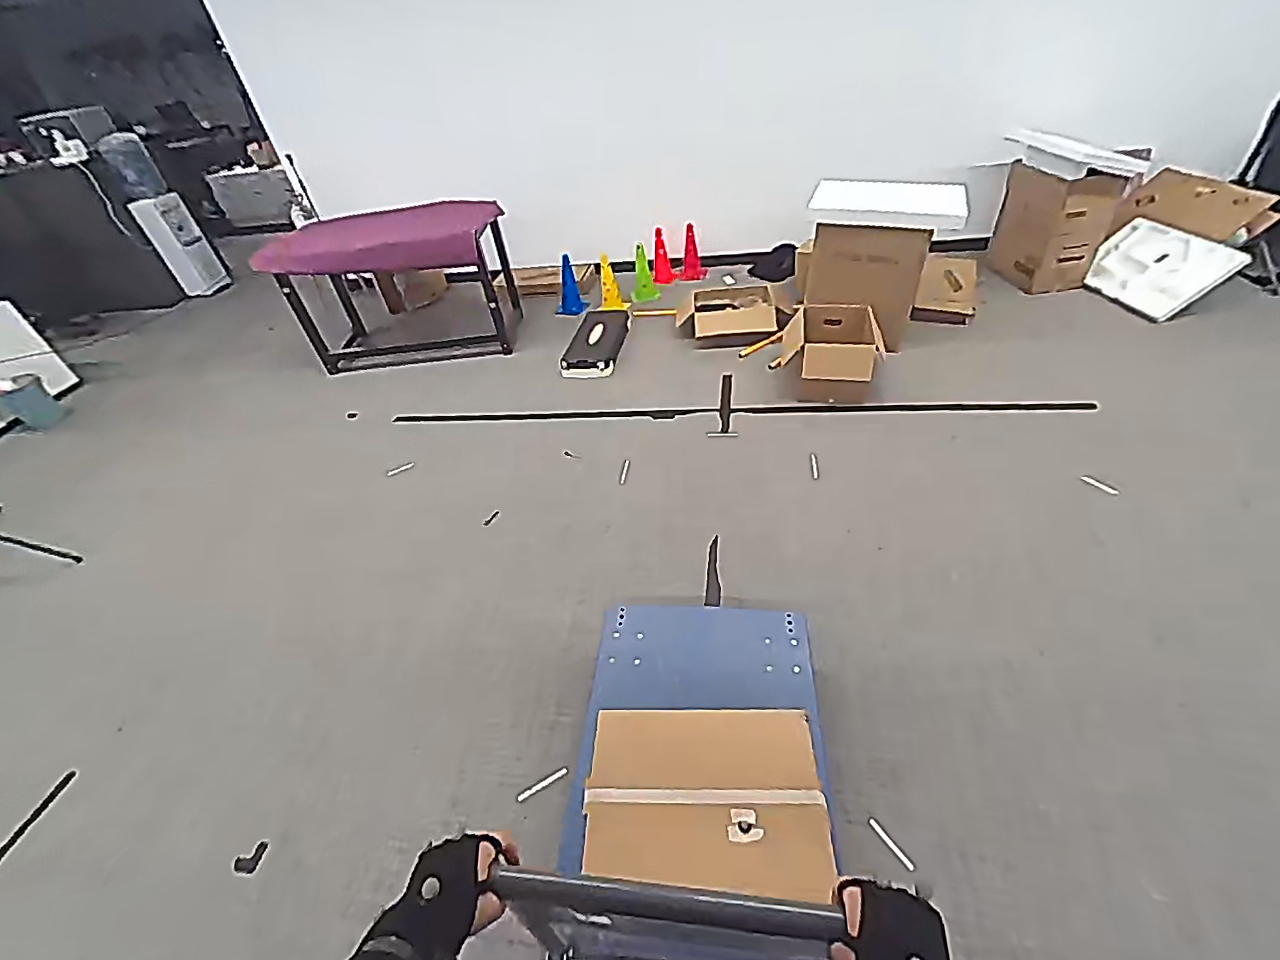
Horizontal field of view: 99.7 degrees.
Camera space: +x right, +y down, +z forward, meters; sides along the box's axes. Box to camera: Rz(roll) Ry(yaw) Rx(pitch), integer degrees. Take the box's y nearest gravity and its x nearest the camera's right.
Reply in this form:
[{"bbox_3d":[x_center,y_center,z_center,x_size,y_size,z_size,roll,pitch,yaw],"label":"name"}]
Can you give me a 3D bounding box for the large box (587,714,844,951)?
[{"bbox_3d":[0.128,0.673,1.037,0.408,0.320,0.320,-2,41,5],"label":"large box"}]
